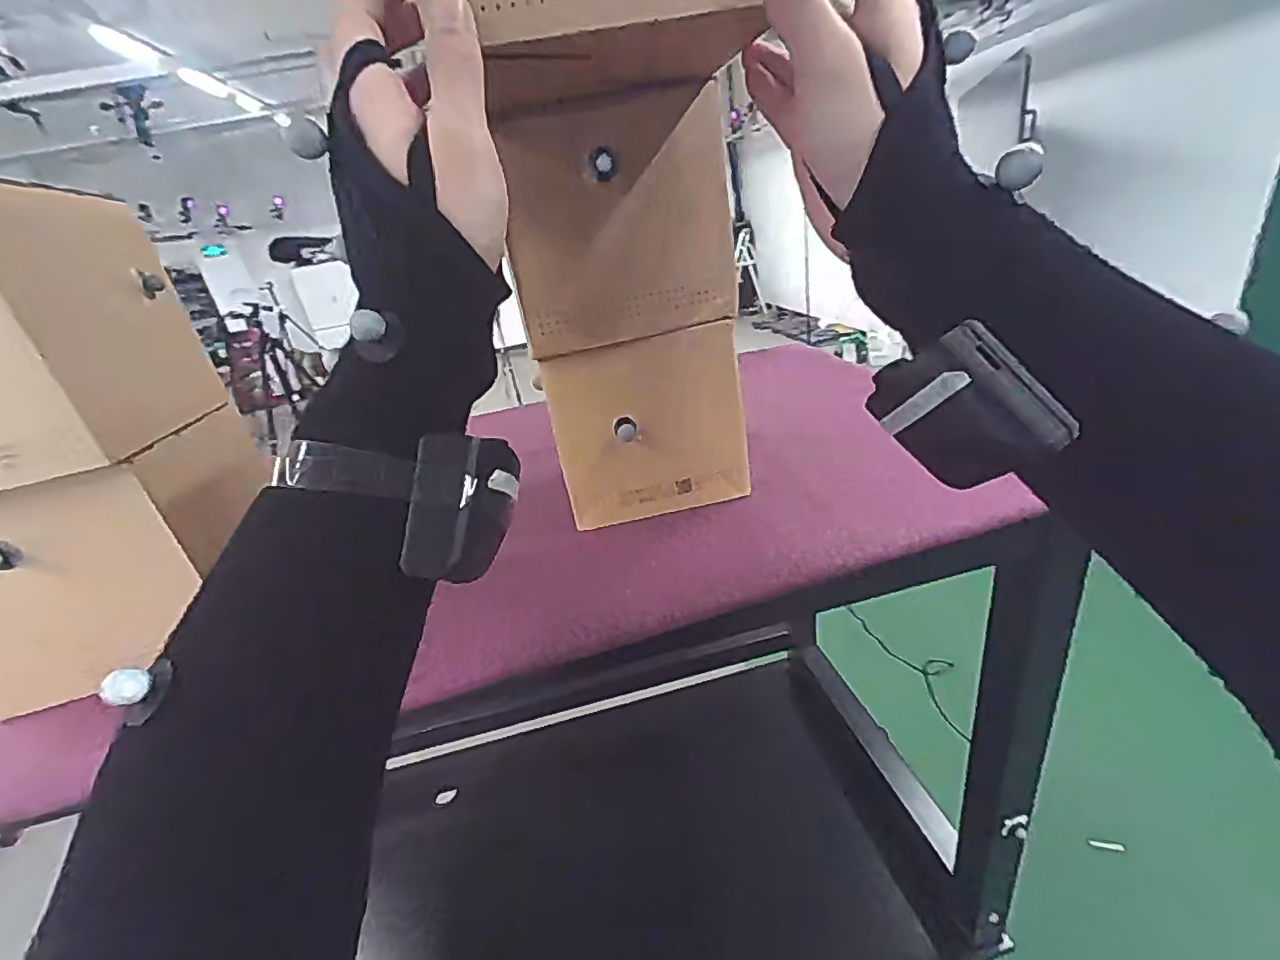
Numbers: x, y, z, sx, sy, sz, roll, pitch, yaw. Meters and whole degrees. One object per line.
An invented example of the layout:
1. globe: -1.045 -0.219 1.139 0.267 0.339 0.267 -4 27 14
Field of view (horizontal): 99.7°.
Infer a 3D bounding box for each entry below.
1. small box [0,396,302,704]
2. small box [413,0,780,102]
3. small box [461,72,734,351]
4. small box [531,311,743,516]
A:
1. small box: -0.422 0.048 0.441 0.179 0.176 0.168 -15 26 -9
2. small box: -0.038 -0.307 0.271 0.179 0.176 0.168 -14 27 -6
3. small box: -0.033 -0.218 0.465 0.179 0.176 0.168 -14 25 -5
4. small box: -0.003 -0.075 0.541 0.168 0.176 0.179 -12 24 -2
